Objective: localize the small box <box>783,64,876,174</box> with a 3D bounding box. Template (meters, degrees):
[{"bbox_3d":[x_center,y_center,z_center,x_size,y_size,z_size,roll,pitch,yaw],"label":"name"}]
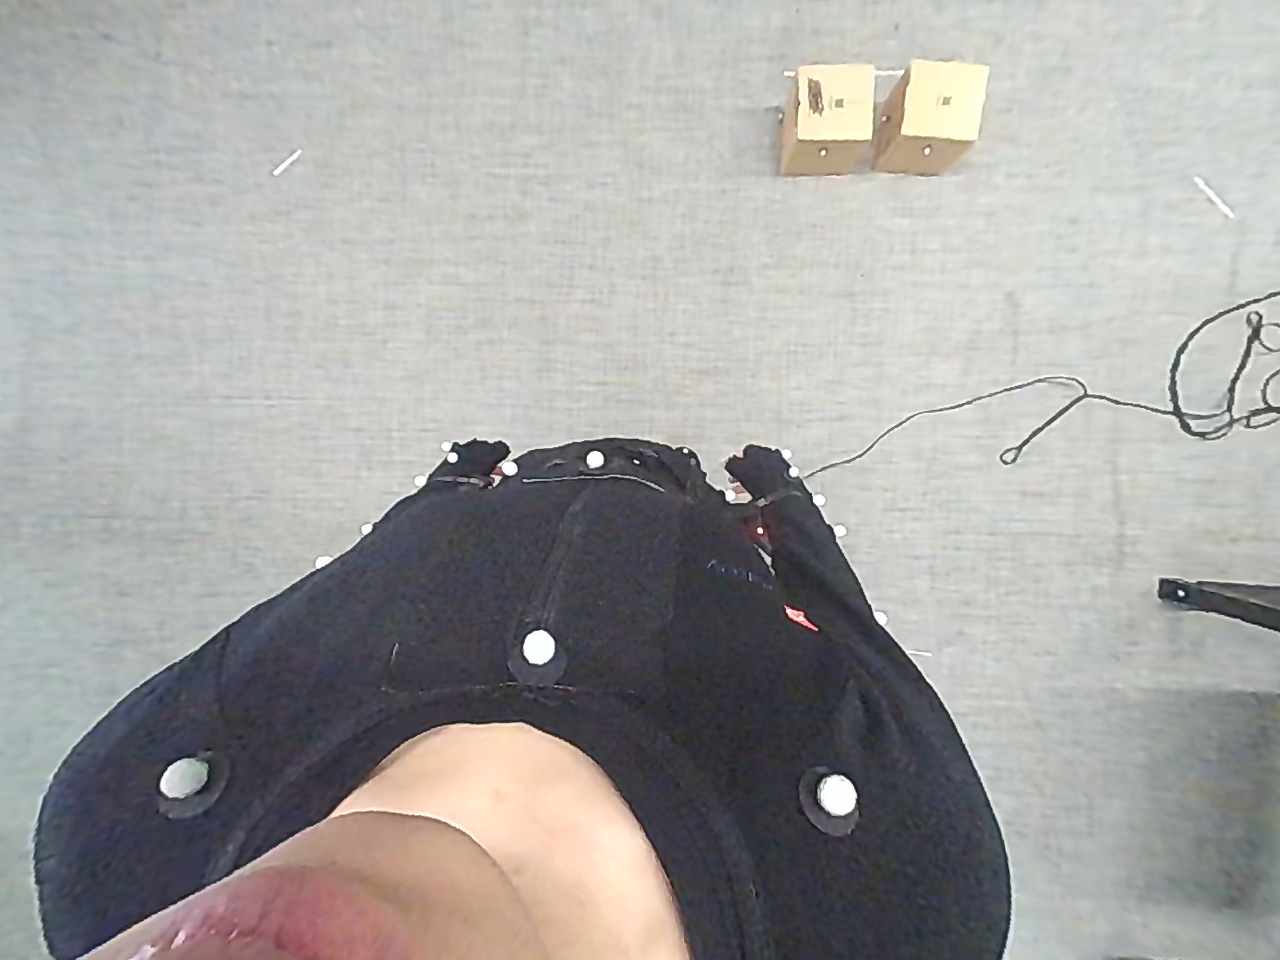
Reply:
[{"bbox_3d":[0.451,-0.866,1.312,0.179,0.176,0.168,1,94,1],"label":"small box"}]

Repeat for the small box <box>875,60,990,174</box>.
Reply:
[{"bbox_3d":[0.696,-0.865,1.303,0.179,0.176,0.168,6,95,3],"label":"small box"}]
